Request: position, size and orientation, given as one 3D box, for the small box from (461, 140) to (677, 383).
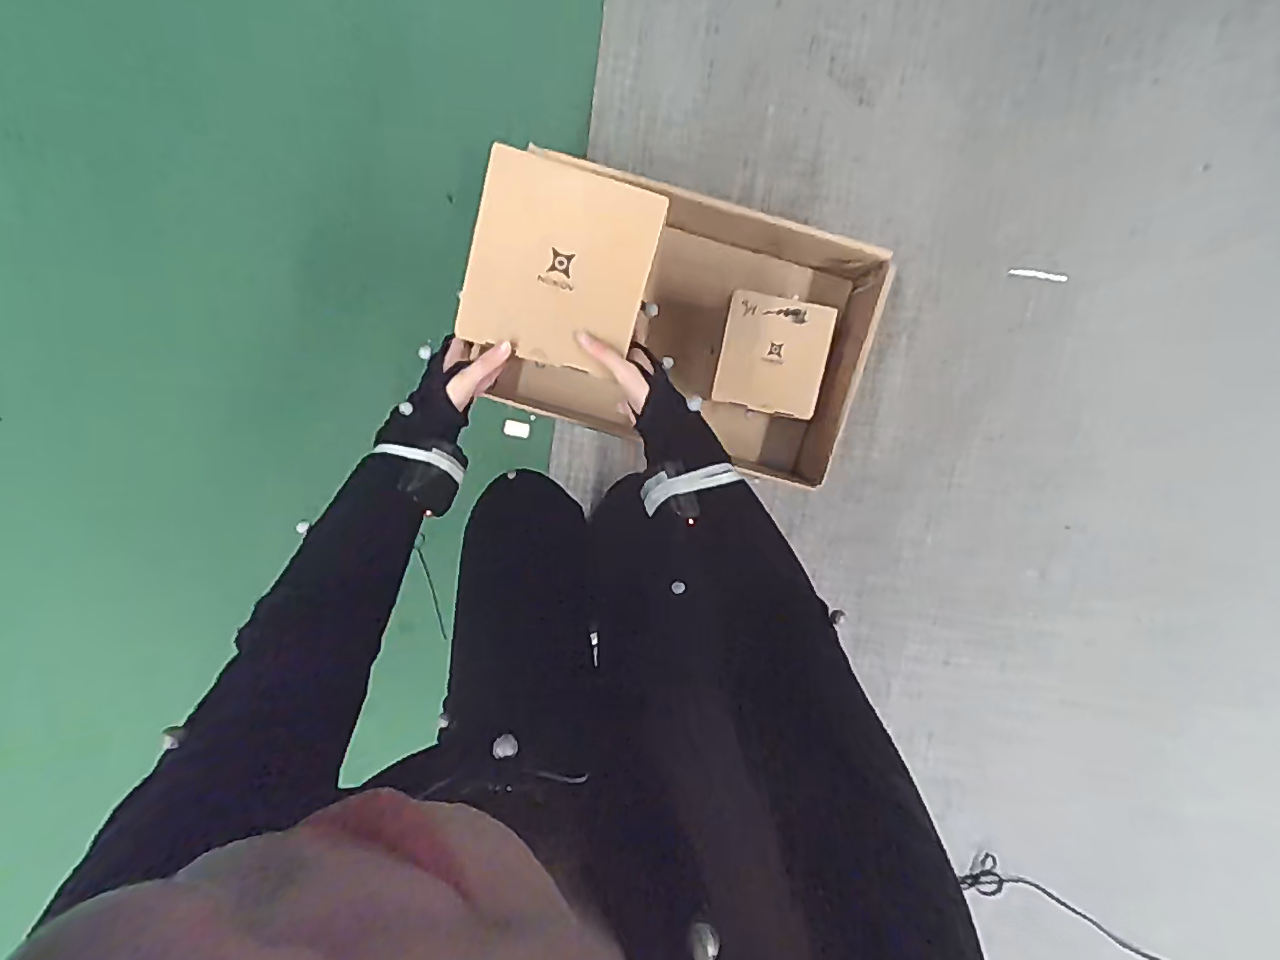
[{"bbox_3d":[-0.070,-0.215,0.576,0.168,0.176,0.179,16,103,-5],"label":"small box"}]
